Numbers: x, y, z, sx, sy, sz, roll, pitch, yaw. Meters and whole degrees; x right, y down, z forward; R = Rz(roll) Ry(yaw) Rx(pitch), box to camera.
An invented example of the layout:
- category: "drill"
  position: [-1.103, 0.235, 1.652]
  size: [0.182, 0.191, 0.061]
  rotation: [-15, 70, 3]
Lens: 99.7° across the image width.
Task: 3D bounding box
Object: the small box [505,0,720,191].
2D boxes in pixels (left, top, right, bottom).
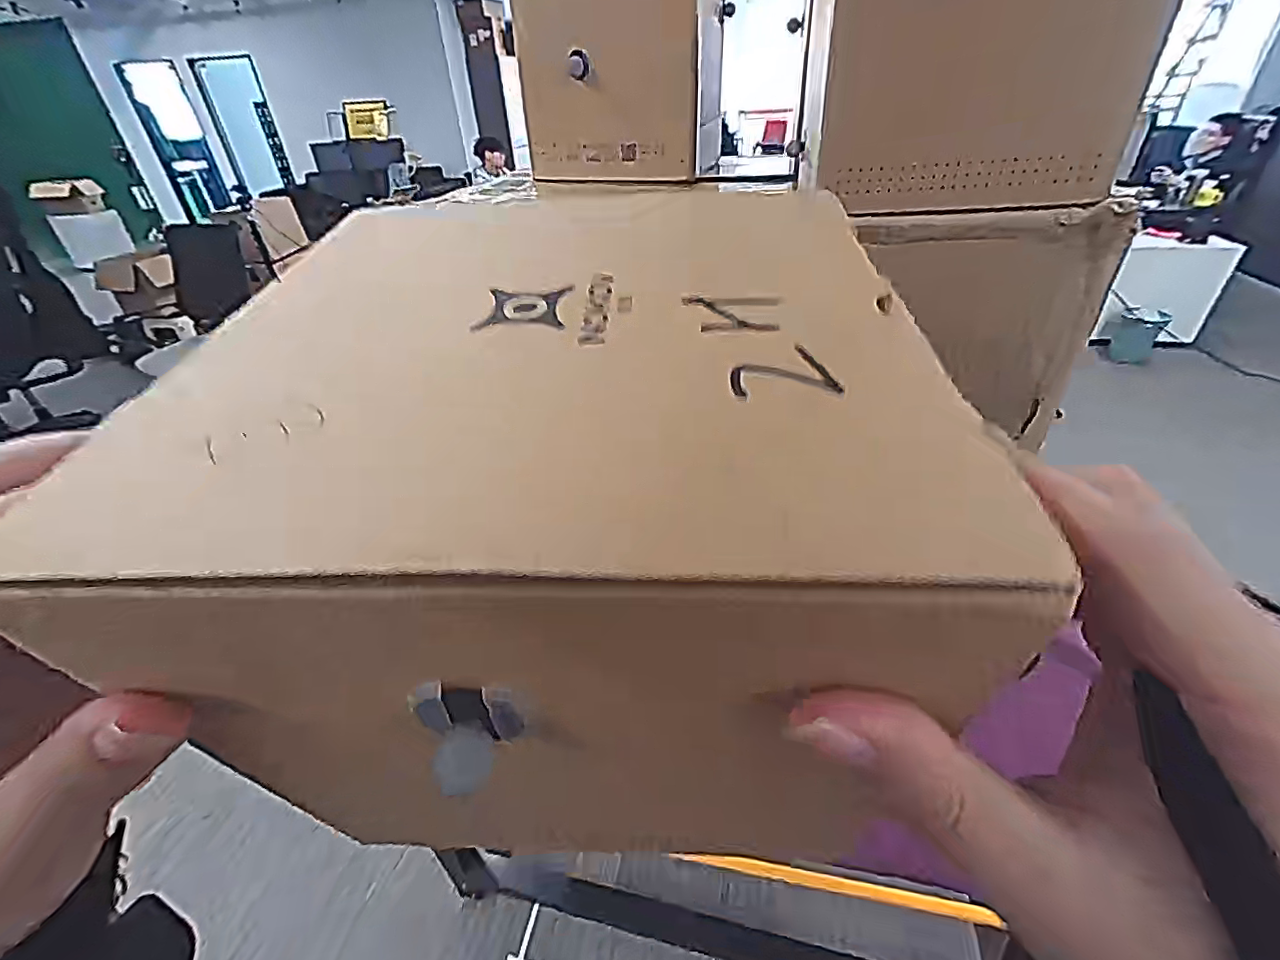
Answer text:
- category: "small box"
  position: [-0.012, -0.397, 0.548]
  size: [0.168, 0.176, 0.179]
  rotation: [7, 36, 13]

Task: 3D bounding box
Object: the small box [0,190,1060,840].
- category: "small box"
  position: [-0.016, 0.015, 0.195]
  size: [0.179, 0.176, 0.168]
  rotation: [-1, 45, 3]

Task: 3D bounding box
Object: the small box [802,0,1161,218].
- category: "small box"
  position: [0.208, -0.283, 0.366]
  size: [0.179, 0.176, 0.168]
  rotation: [2, 36, 10]
